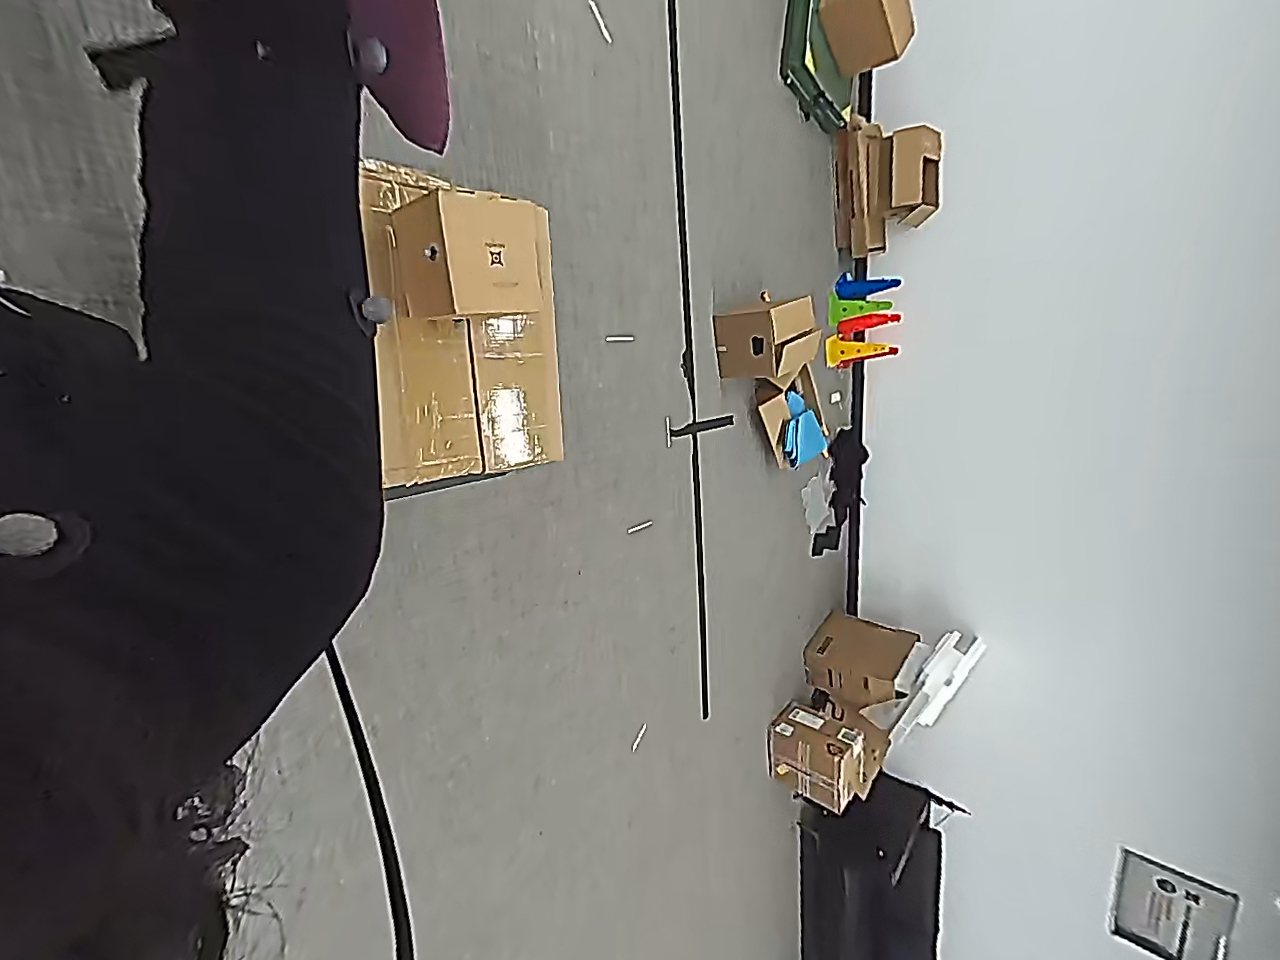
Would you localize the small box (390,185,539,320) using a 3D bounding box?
[{"bbox_3d":[-0.290,-0.361,0.892,0.168,0.176,0.179,-18,111,-43],"label":"small box"}]
